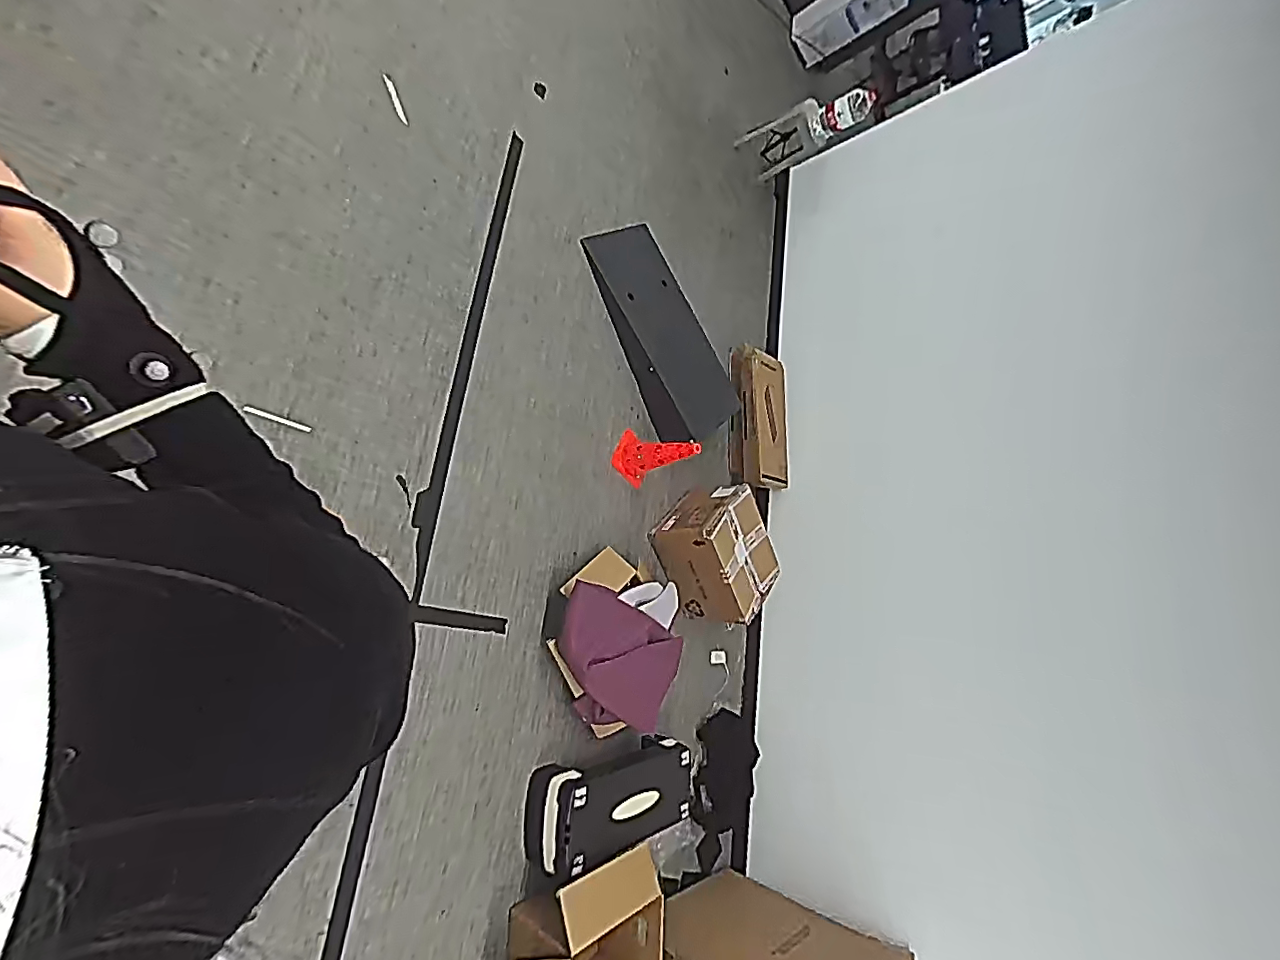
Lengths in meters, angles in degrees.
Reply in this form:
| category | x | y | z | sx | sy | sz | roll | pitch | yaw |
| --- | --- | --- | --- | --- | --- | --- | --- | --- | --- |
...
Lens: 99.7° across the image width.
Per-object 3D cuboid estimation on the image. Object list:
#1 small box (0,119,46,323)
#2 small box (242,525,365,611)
| category | x | y | z | sx | sy | sz | roll | pitch | yaw |
| --- | --- | --- | --- | --- | --- | --- | --- | --- | --- |
| small box | -0.359 | -0.149 | 0.187 | 0.168 | 0.176 | 0.179 | -20 | 110 | -49 |
| small box | -0.771 | 0.203 | 1.240 | 0.179 | 0.176 | 0.168 | 22 | 68 | -45 |
